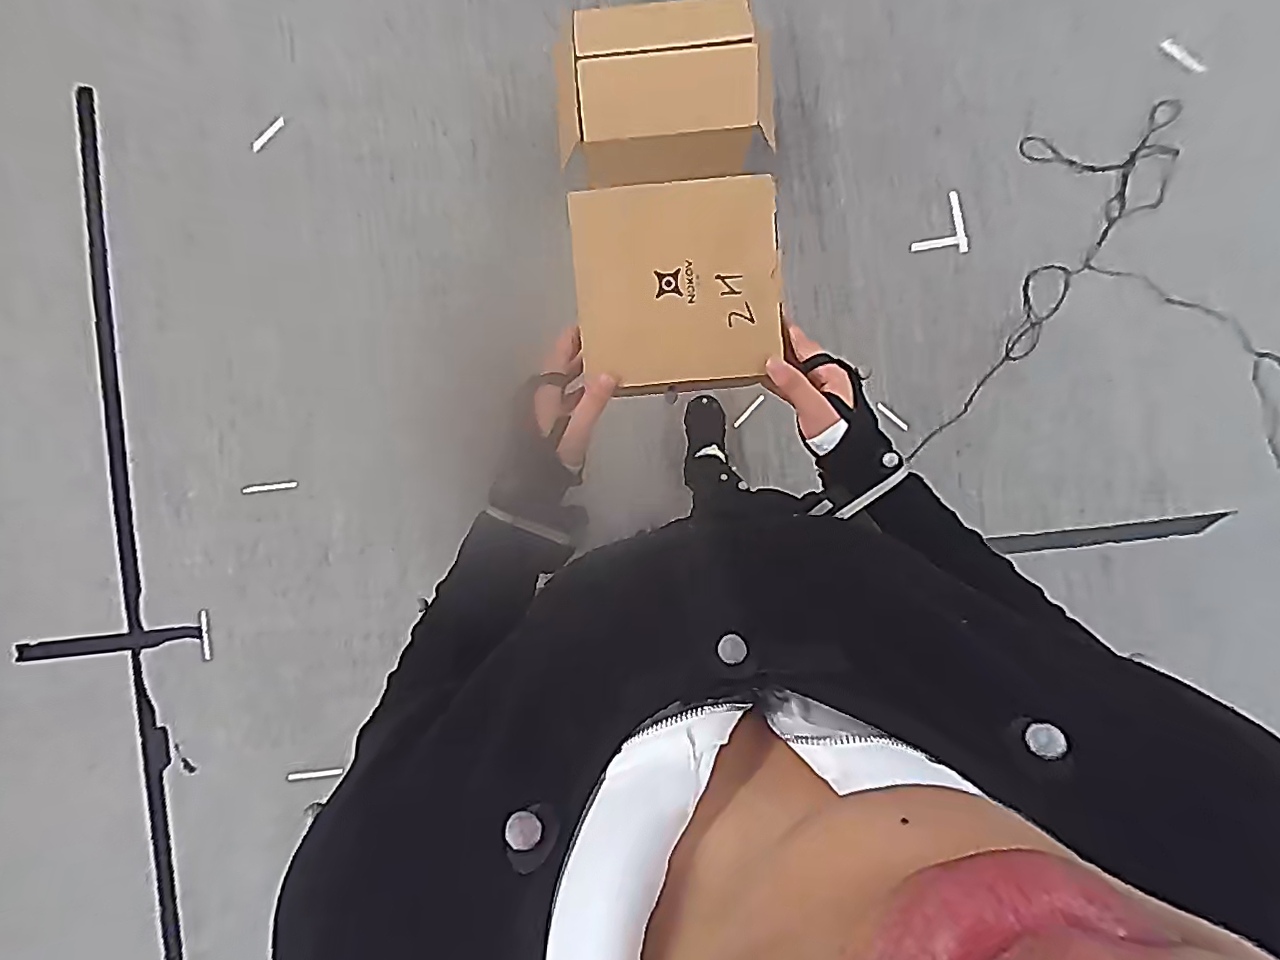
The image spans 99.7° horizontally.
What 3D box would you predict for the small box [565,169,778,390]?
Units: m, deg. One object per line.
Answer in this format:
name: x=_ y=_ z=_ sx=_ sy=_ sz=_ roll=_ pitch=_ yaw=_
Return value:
small box: x=0.029 y=-0.183 z=0.542 sx=0.179 sy=0.176 sz=0.168 roll=-5 pitch=97 yaw=0
